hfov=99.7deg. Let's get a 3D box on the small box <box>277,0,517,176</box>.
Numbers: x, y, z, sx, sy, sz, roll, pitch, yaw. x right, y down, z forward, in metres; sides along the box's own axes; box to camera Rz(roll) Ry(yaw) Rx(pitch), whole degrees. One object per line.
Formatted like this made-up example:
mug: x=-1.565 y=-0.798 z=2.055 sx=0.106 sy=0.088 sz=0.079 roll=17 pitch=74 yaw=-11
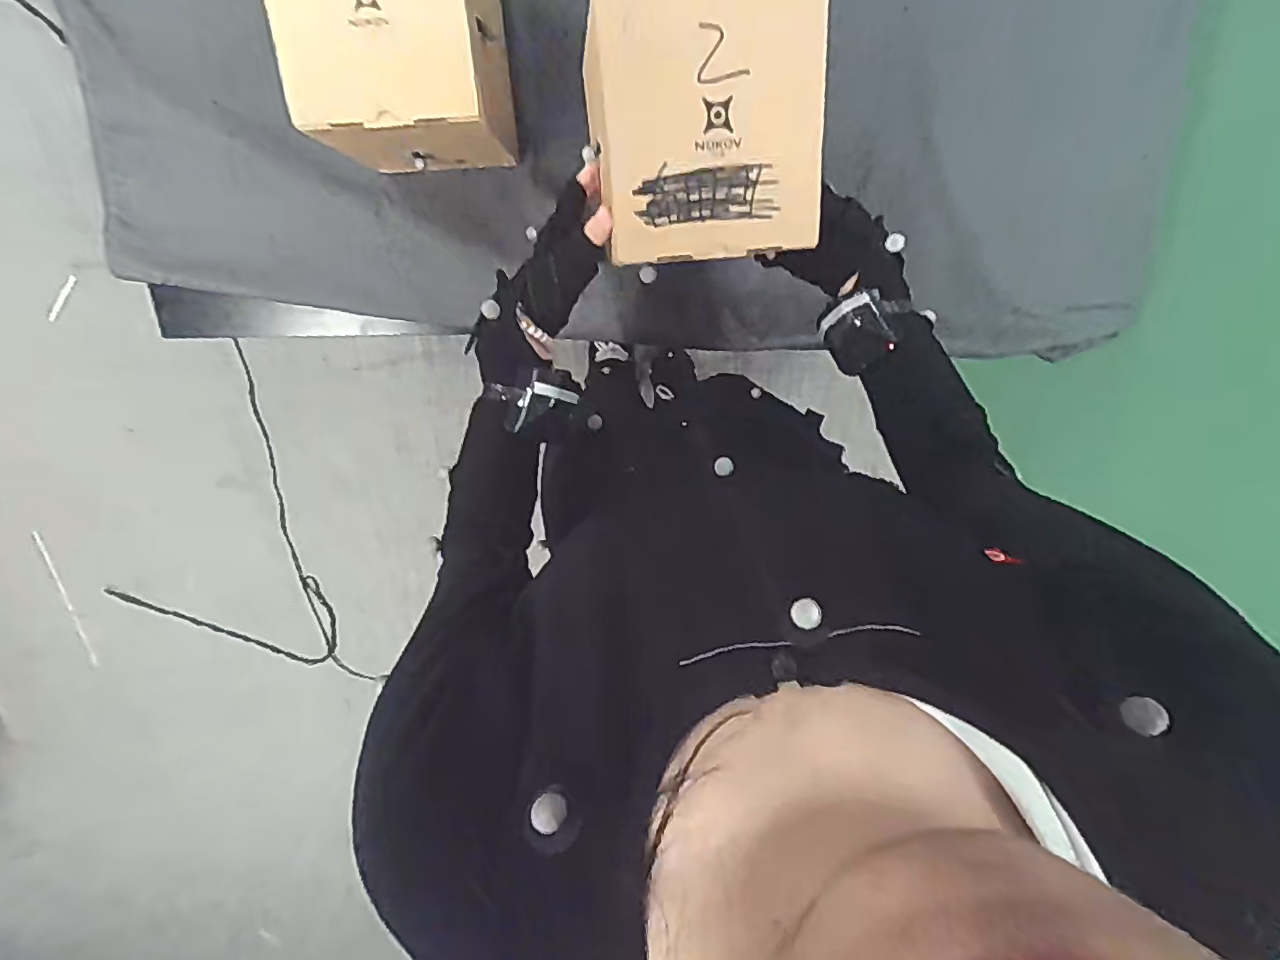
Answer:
small box: x=-0.225 y=-0.419 z=0.534 sx=0.168 sy=0.176 sz=0.179 roll=-3 pitch=109 yaw=0
